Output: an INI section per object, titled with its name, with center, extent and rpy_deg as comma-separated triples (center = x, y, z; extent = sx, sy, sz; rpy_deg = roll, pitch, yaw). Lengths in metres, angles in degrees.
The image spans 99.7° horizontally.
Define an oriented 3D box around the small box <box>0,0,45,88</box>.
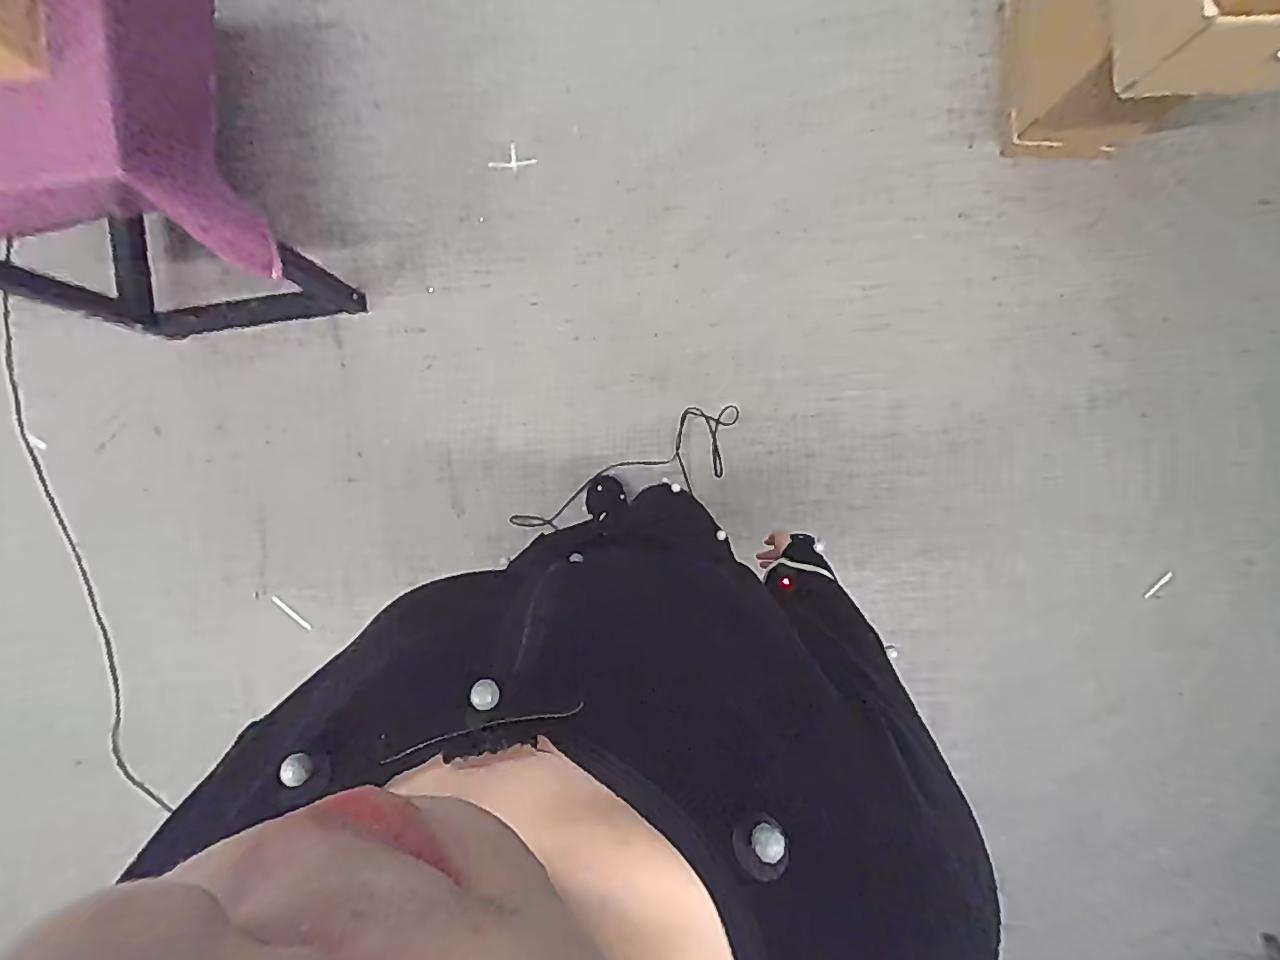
[small box]
center = -0.945, -0.651, 0.708
extent = 0.179, 0.176, 0.168
rpy_deg = -4, 89, 1
